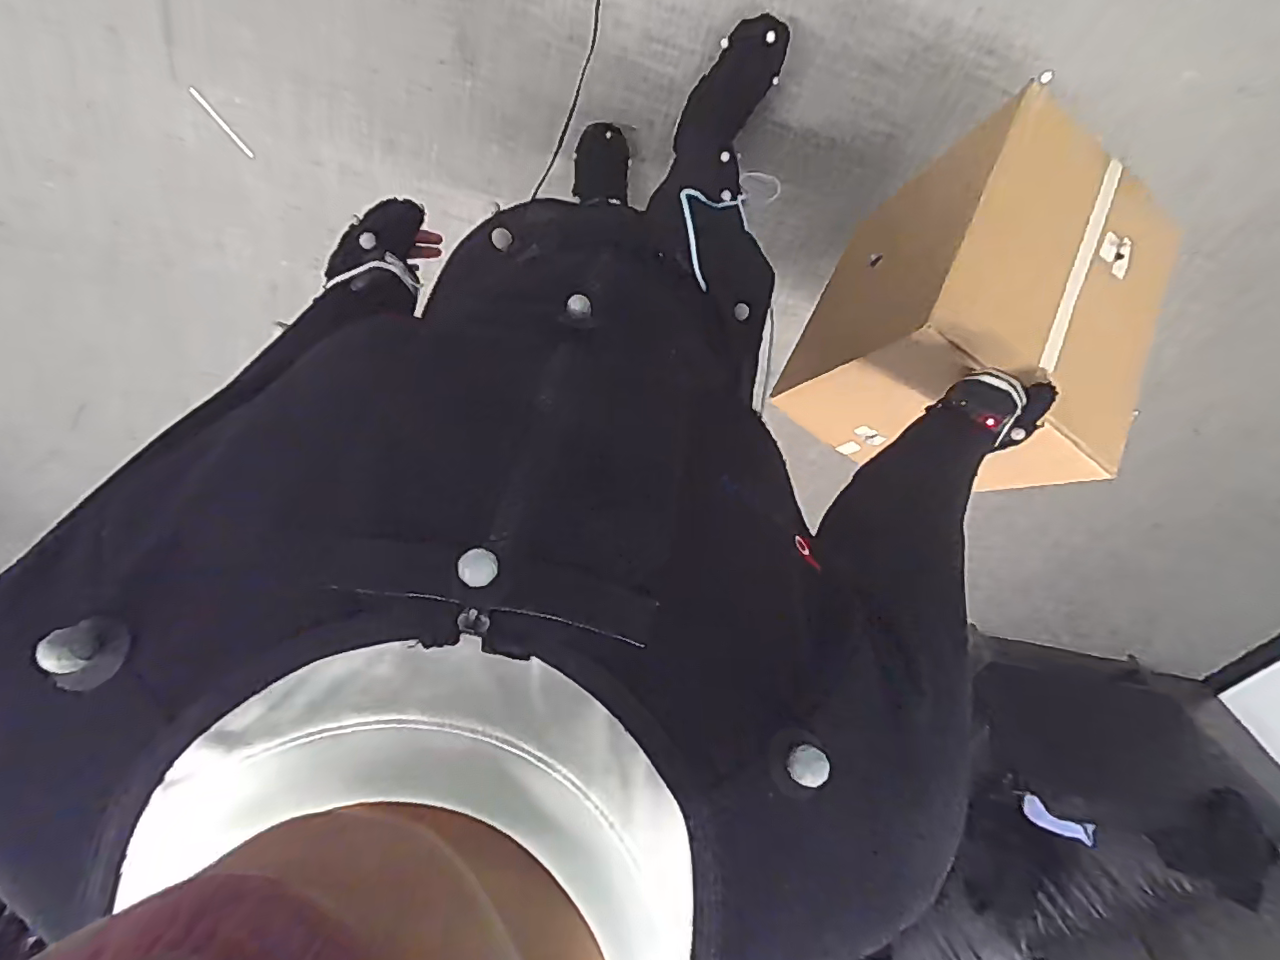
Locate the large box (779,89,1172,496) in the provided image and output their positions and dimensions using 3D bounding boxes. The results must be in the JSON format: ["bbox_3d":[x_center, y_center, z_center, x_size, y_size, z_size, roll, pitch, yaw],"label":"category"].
[{"bbox_3d":[0.473,-0.232,0.802,0.320,0.408,0.320,33,164,-13],"label":"large box"}]
